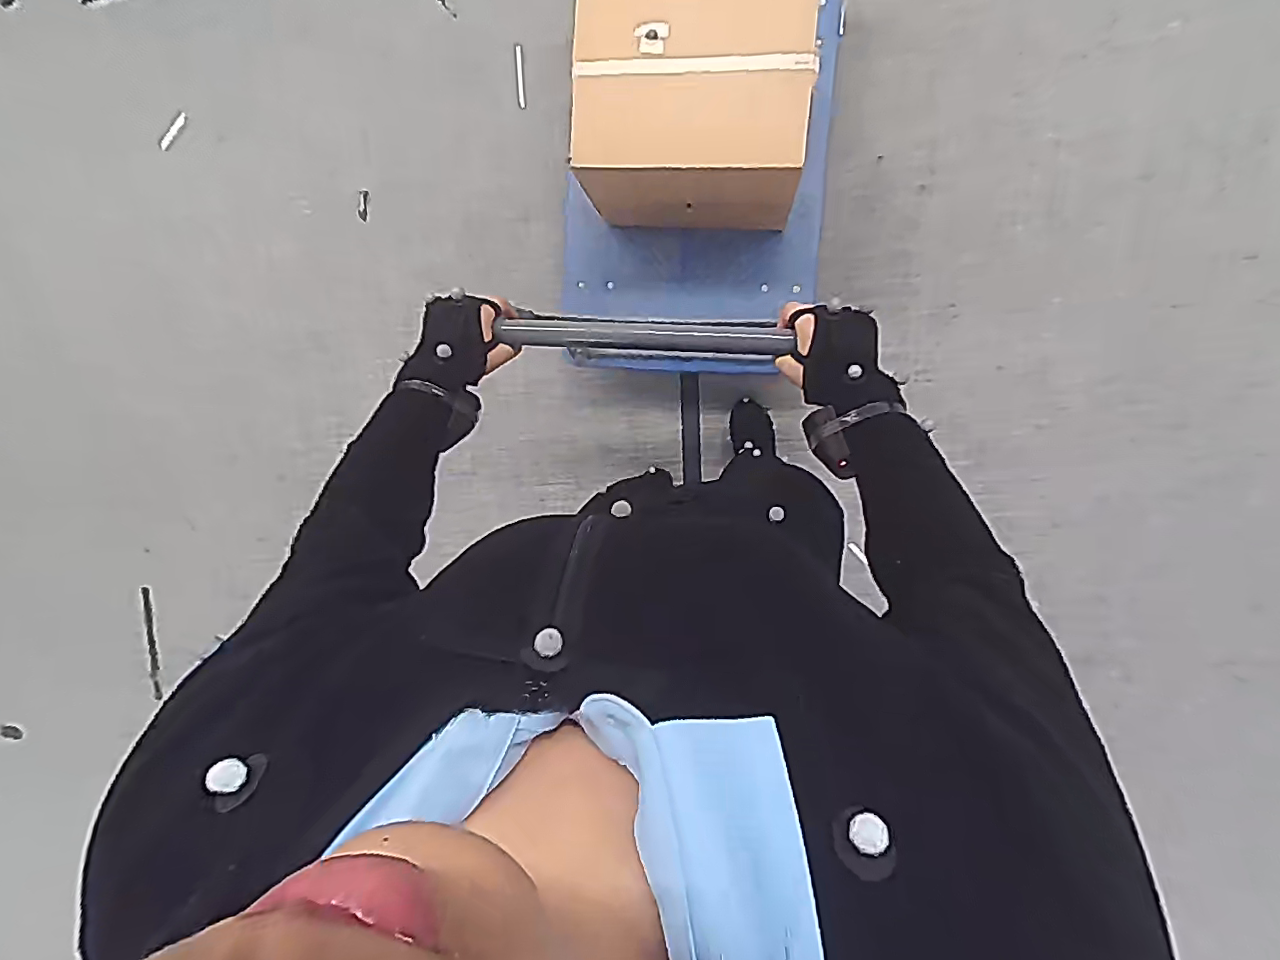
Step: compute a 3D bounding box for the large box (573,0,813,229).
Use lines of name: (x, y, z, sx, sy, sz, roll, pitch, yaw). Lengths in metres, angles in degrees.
large box: (0.109, -0.704, 1.067, 0.408, 0.320, 0.320, 5, 96, 9)
